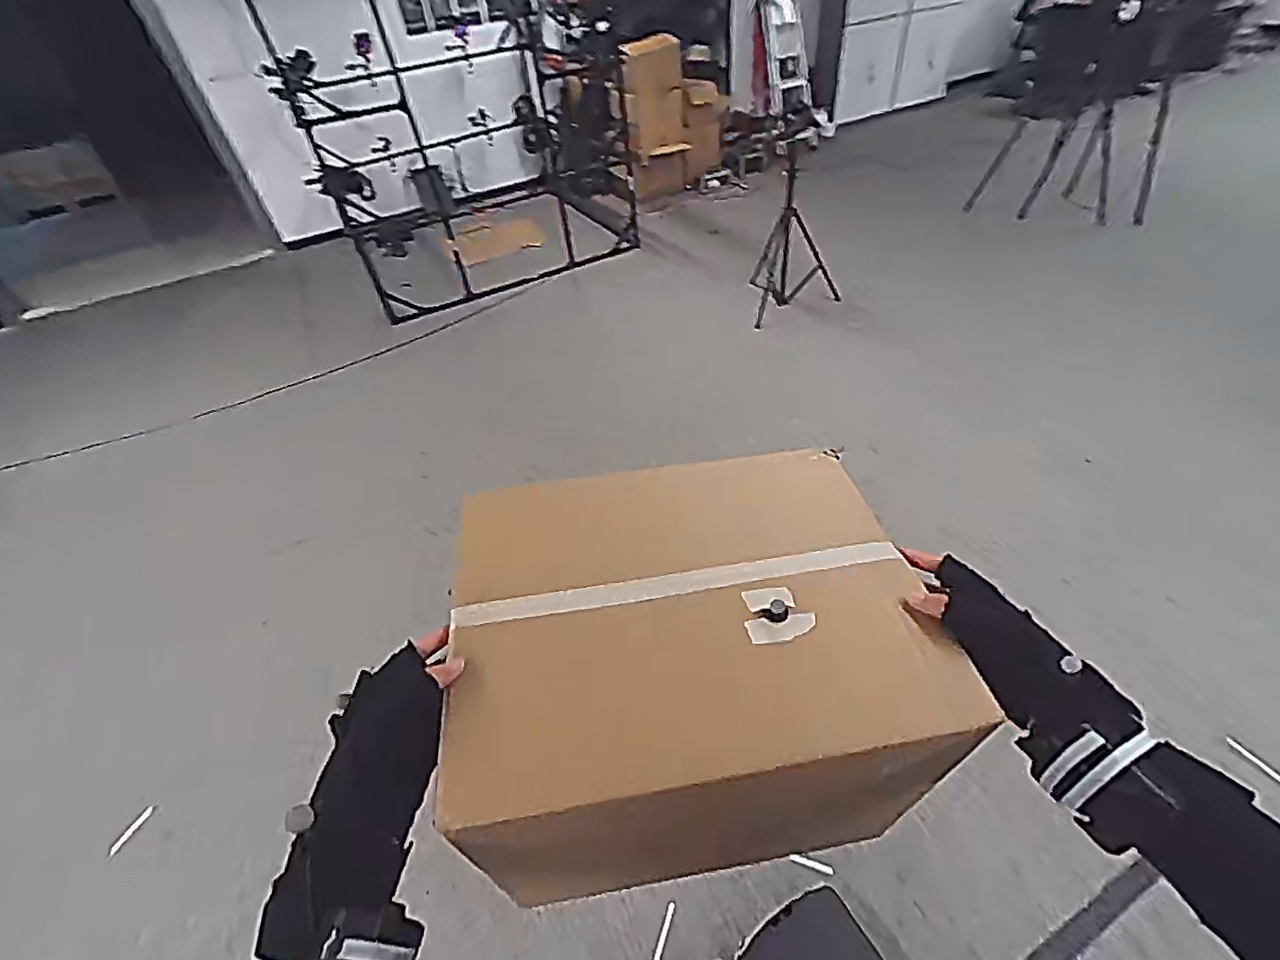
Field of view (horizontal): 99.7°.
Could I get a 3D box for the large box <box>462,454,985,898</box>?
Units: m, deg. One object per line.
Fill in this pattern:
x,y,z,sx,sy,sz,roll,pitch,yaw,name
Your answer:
0.047,0.206,0.596,0.408,0.320,0.320,-7,45,-6,large box
